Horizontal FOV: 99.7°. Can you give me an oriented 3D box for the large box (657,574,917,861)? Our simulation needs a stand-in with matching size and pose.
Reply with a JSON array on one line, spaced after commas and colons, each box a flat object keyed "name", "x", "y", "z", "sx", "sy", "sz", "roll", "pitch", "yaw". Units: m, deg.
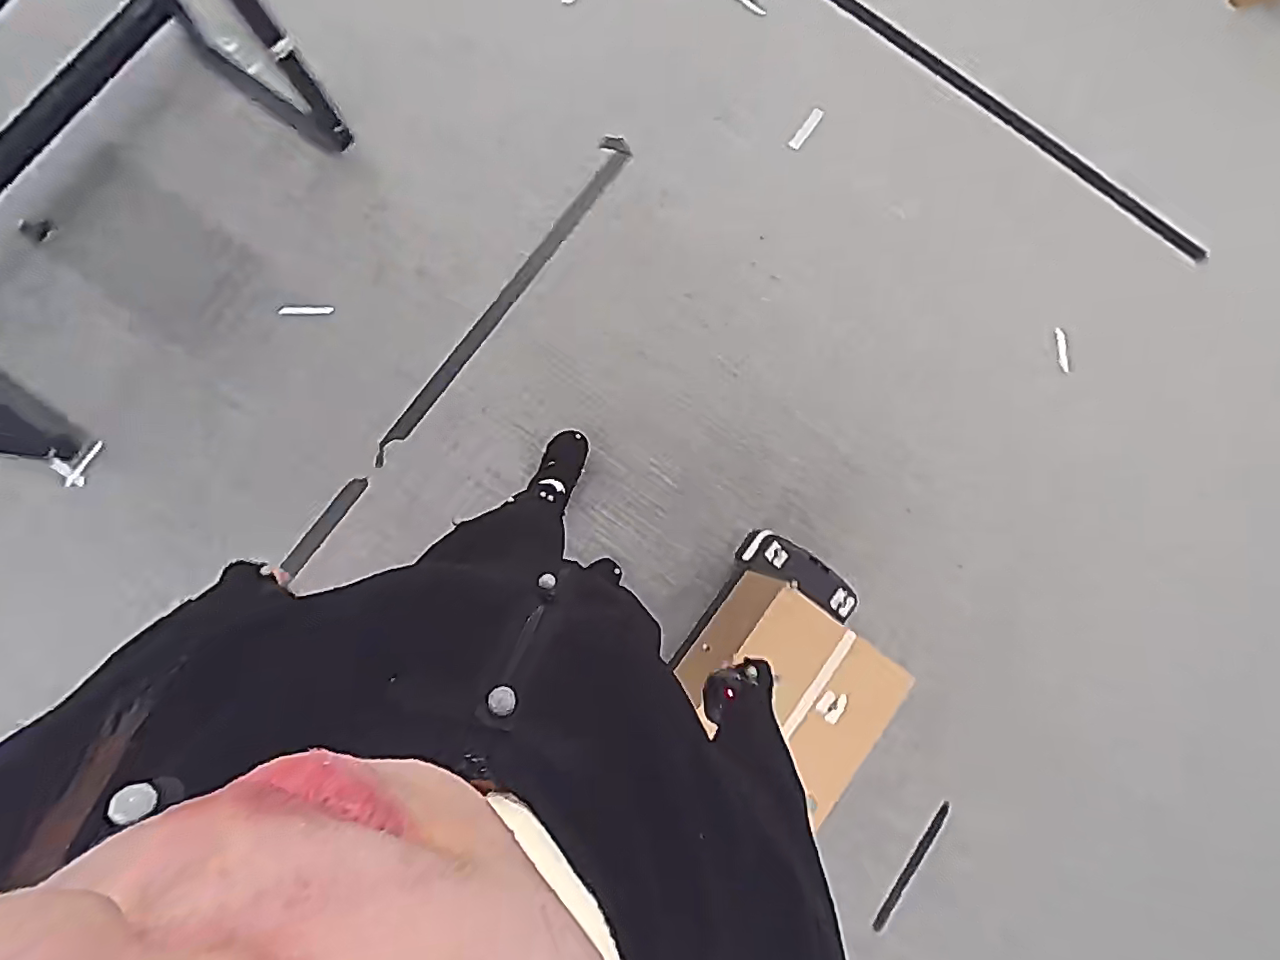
[{"name": "large box", "x": 0.279, "y": 0.457, "z": 1.144, "sx": 0.320, "sy": 0.320, "sz": 0.408, "roll": 37, "pitch": 84, "yaw": 0}]
